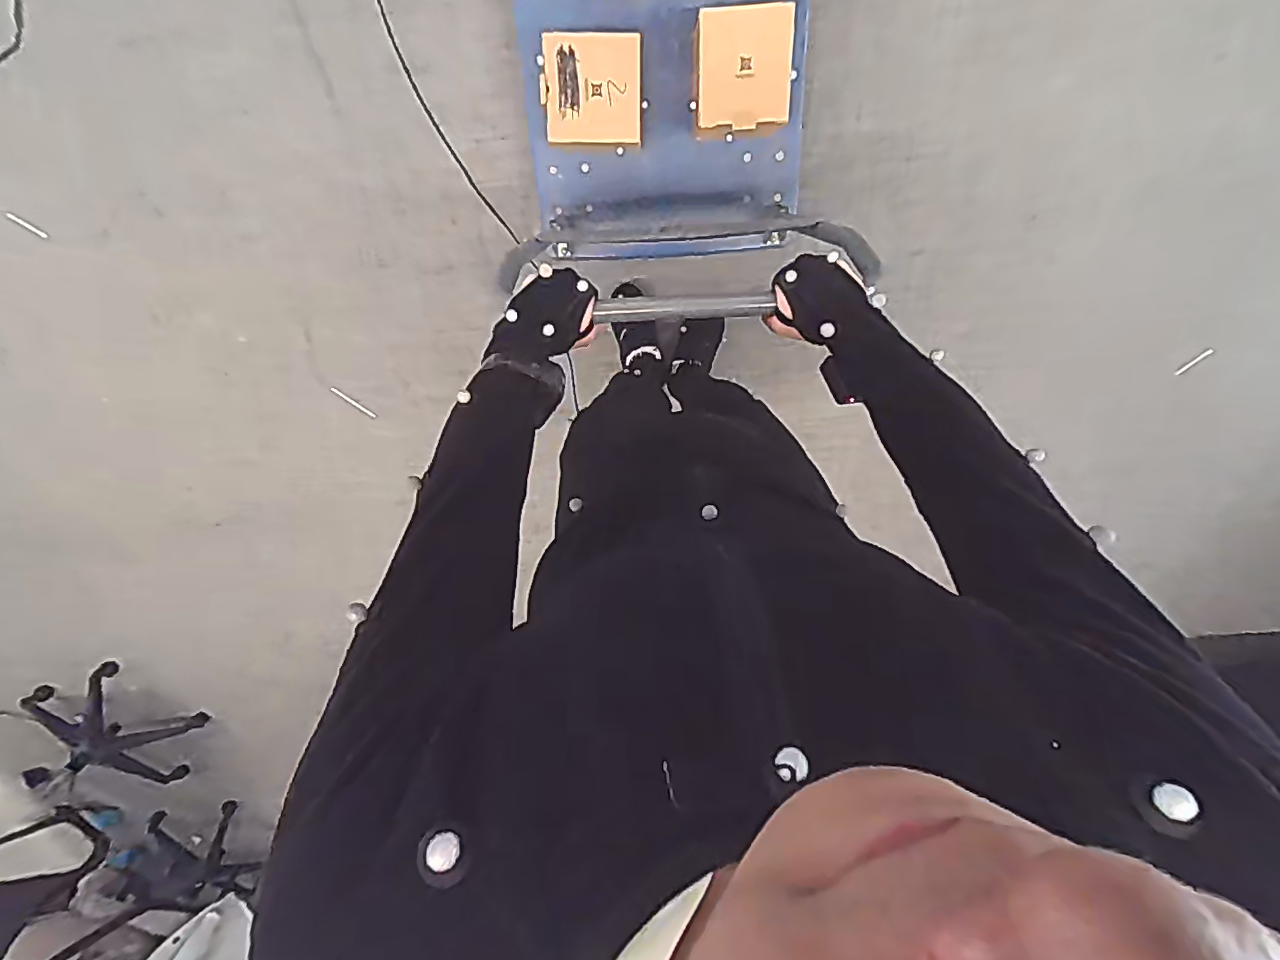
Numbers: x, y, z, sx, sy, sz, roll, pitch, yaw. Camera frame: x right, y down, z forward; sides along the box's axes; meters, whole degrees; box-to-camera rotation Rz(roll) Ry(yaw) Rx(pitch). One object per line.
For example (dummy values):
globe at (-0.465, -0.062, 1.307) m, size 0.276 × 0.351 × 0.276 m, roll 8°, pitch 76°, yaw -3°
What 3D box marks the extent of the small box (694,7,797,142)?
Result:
small box at (0.193, -0.766, 1.038) m, size 0.168 × 0.176 × 0.179 m, roll -2°, pitch 116°, yaw 2°
